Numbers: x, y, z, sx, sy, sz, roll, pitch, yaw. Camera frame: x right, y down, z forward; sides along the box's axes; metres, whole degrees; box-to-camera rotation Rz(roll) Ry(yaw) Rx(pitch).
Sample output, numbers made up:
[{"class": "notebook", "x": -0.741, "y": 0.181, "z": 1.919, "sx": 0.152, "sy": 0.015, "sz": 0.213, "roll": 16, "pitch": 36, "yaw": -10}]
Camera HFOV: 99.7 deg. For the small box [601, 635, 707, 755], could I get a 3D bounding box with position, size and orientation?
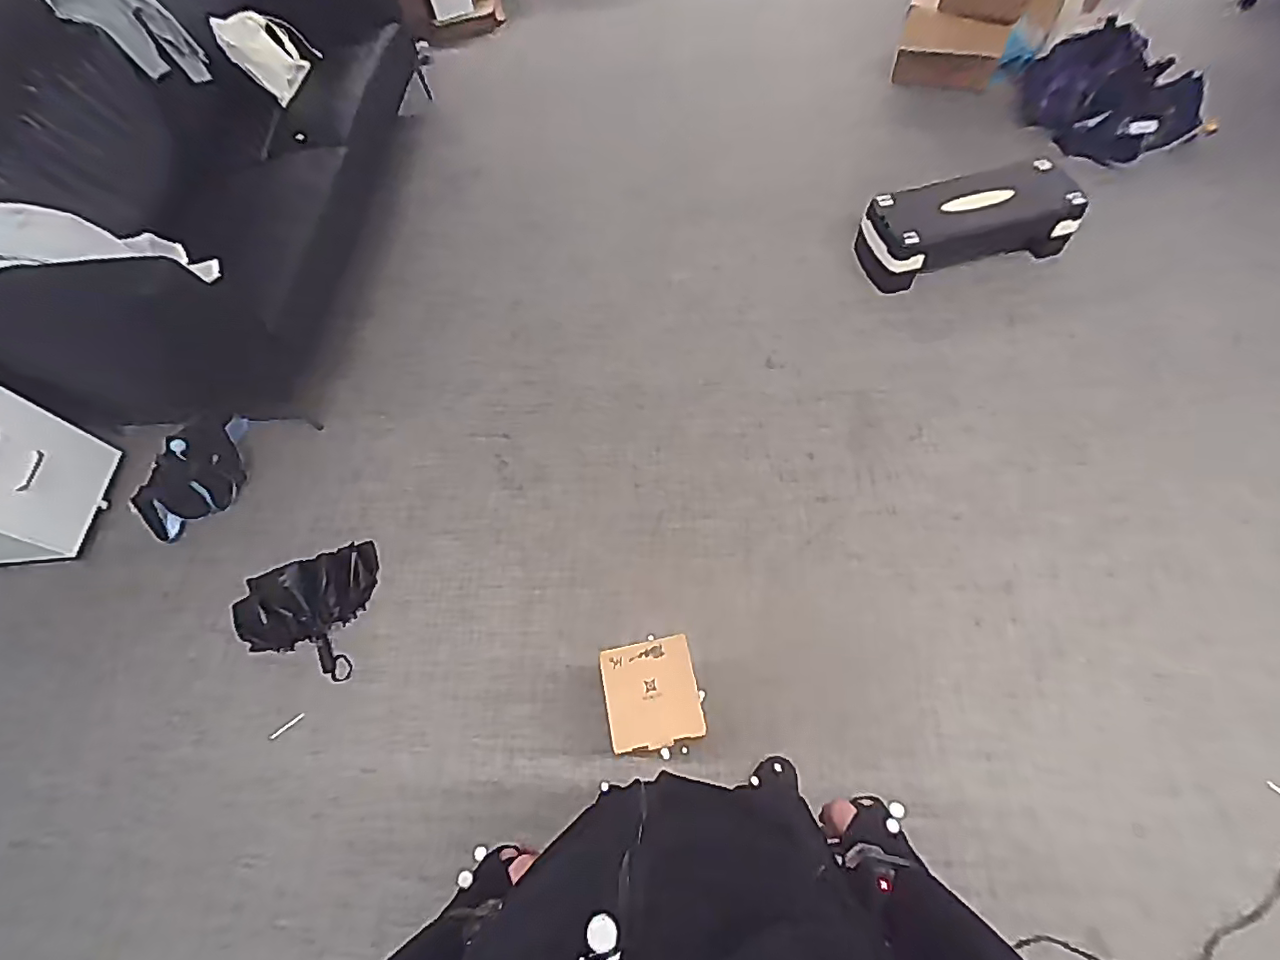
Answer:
[{"class": "small box", "x": 0.030, "y": 0.410, "z": 1.028, "sx": 0.168, "sy": 0.176, "sz": 0.179, "roll": -12, "pitch": 63, "yaw": 1}]
